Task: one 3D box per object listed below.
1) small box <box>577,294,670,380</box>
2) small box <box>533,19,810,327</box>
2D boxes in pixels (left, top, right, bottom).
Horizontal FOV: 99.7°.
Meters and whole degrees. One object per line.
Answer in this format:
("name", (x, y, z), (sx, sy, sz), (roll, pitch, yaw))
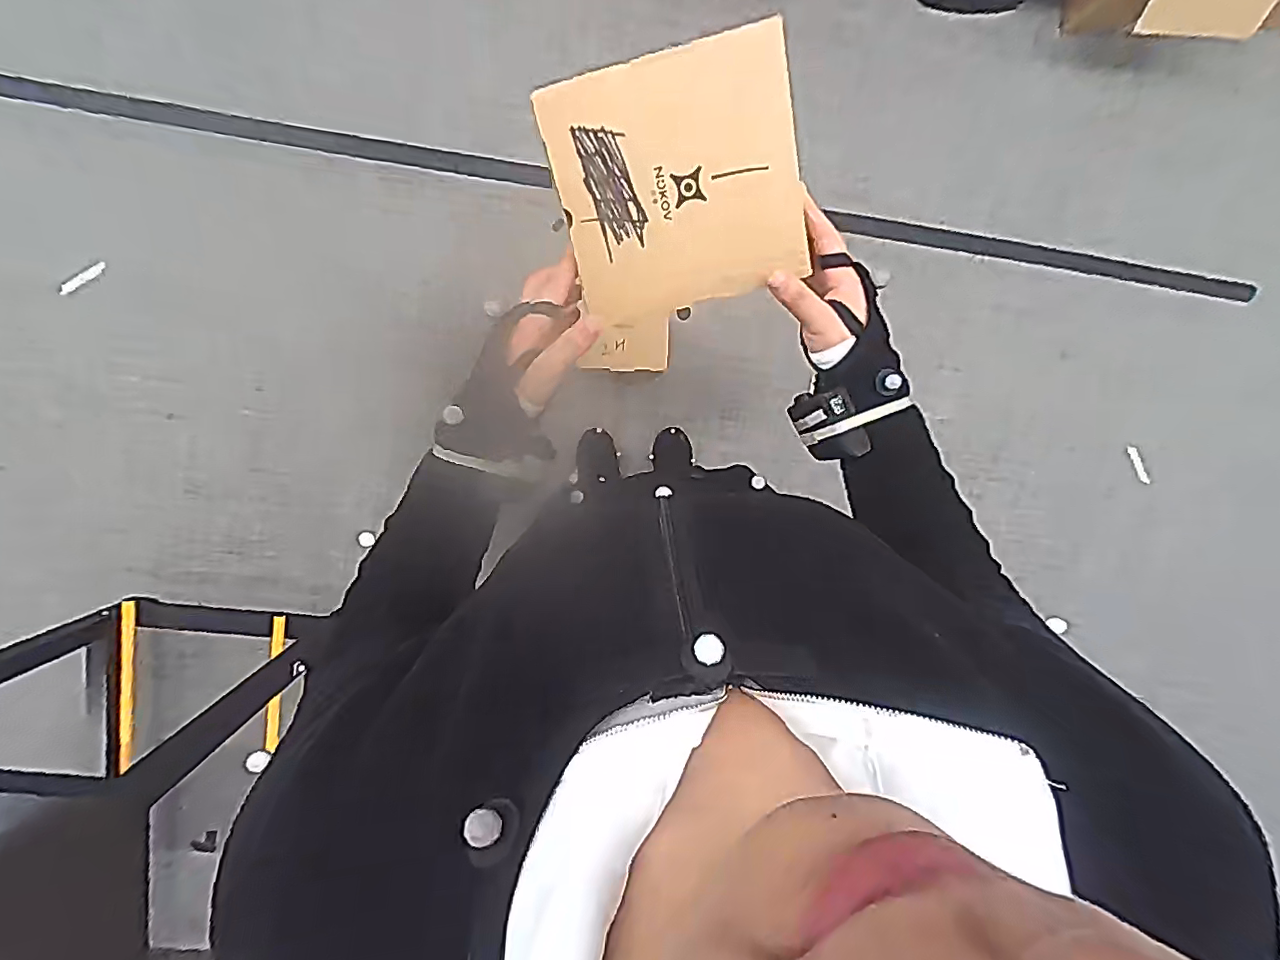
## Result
("small box", (-0.033, -0.289, 1.041), (0.168, 0.176, 0.179), (1, 98, -2))
("small box", (0.031, -0.238, 0.462), (0.179, 0.176, 0.168), (-12, 112, 7))
